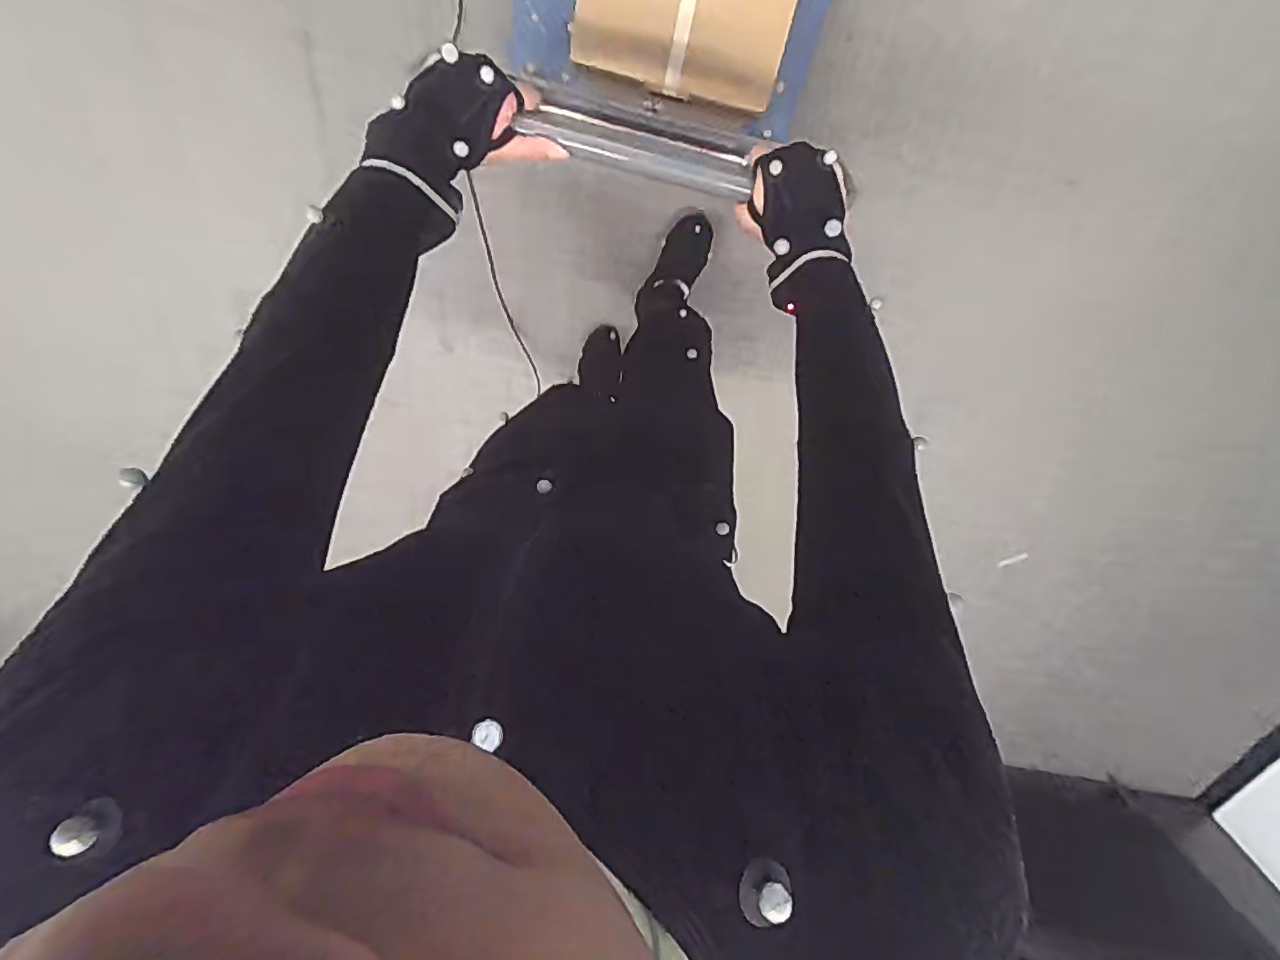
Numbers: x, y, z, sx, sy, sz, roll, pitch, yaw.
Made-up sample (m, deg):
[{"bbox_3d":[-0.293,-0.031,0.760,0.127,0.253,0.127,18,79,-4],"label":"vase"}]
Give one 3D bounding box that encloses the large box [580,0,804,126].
[{"bbox_3d":[0.102,-0.844,0.859,0.320,0.320,0.408,11,117,-6],"label":"large box"}]
